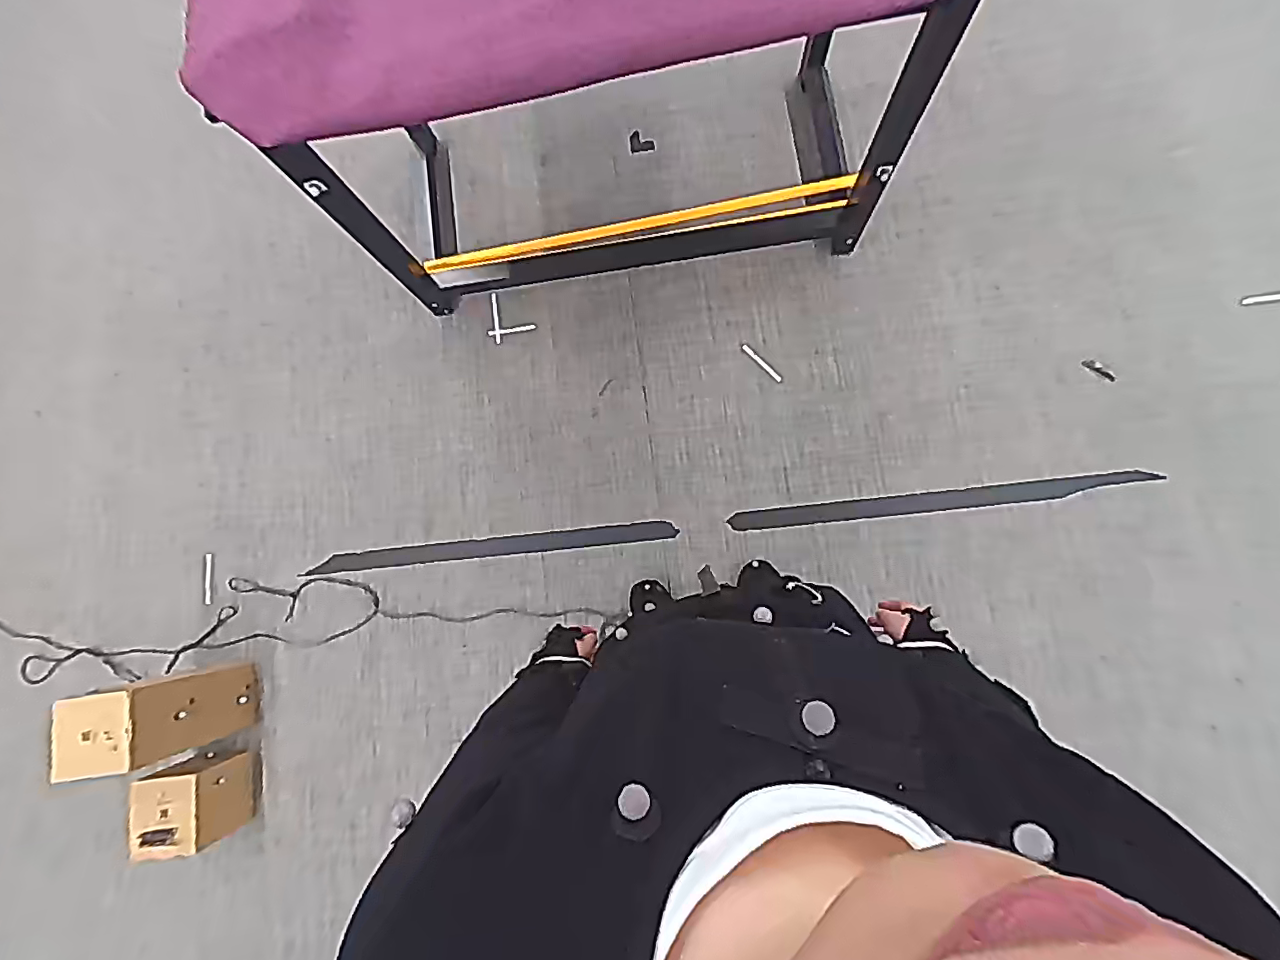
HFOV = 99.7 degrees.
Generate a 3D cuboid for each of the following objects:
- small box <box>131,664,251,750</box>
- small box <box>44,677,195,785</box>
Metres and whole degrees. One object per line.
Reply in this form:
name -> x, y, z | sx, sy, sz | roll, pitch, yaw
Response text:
small box -> -1.115, 0.565, 1.345 | 0.179, 0.176, 0.168 | -7, 81, 3
small box -> -1.128, 0.540, 1.183 | 0.179, 0.176, 0.168 | -9, 82, 3
